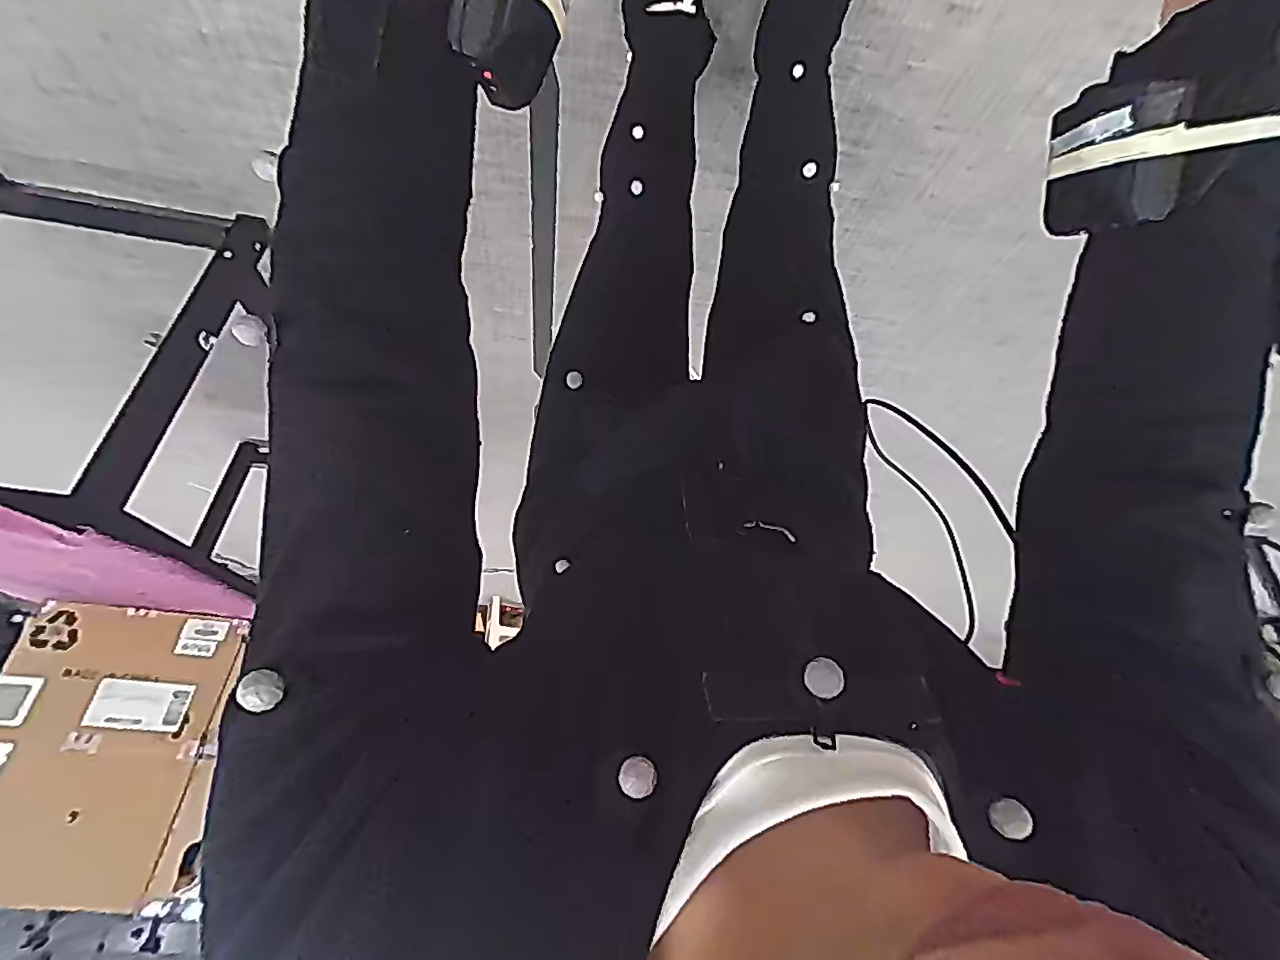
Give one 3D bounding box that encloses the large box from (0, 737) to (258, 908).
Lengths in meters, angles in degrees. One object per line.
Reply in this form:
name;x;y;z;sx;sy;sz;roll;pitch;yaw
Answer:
large box;-1.275;0.819;1.333;0.408;0.320;0.320;7;155;-6
